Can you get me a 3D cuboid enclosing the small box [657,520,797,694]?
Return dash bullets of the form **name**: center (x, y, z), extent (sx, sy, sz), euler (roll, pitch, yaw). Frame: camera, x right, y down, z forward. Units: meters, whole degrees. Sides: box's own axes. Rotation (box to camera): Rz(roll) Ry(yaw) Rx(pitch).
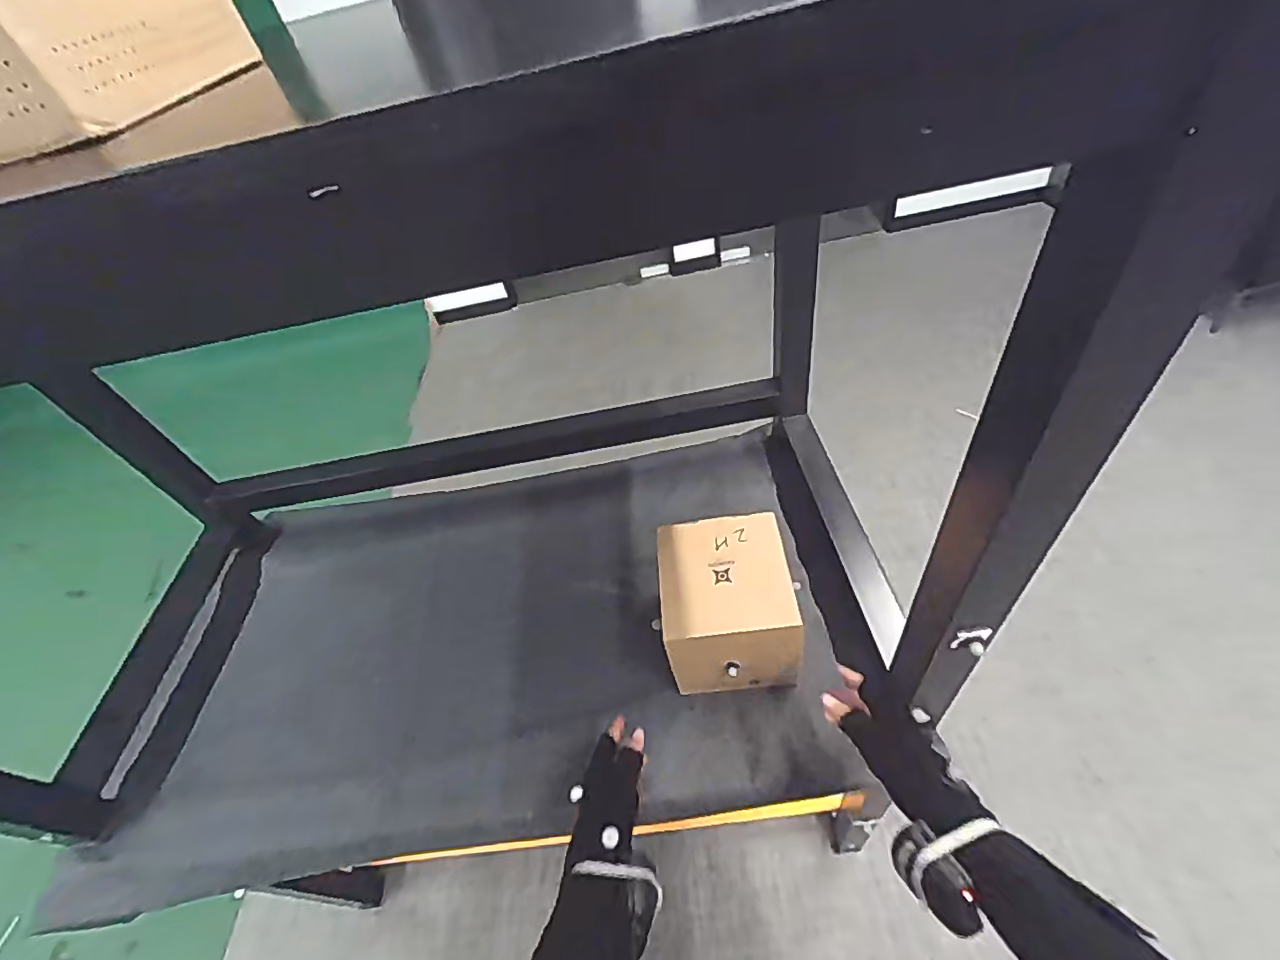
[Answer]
- **small box**: center (0.118, 0.182, 0.748), extent (0.168, 0.176, 0.179), euler (-8, 45, 7)
